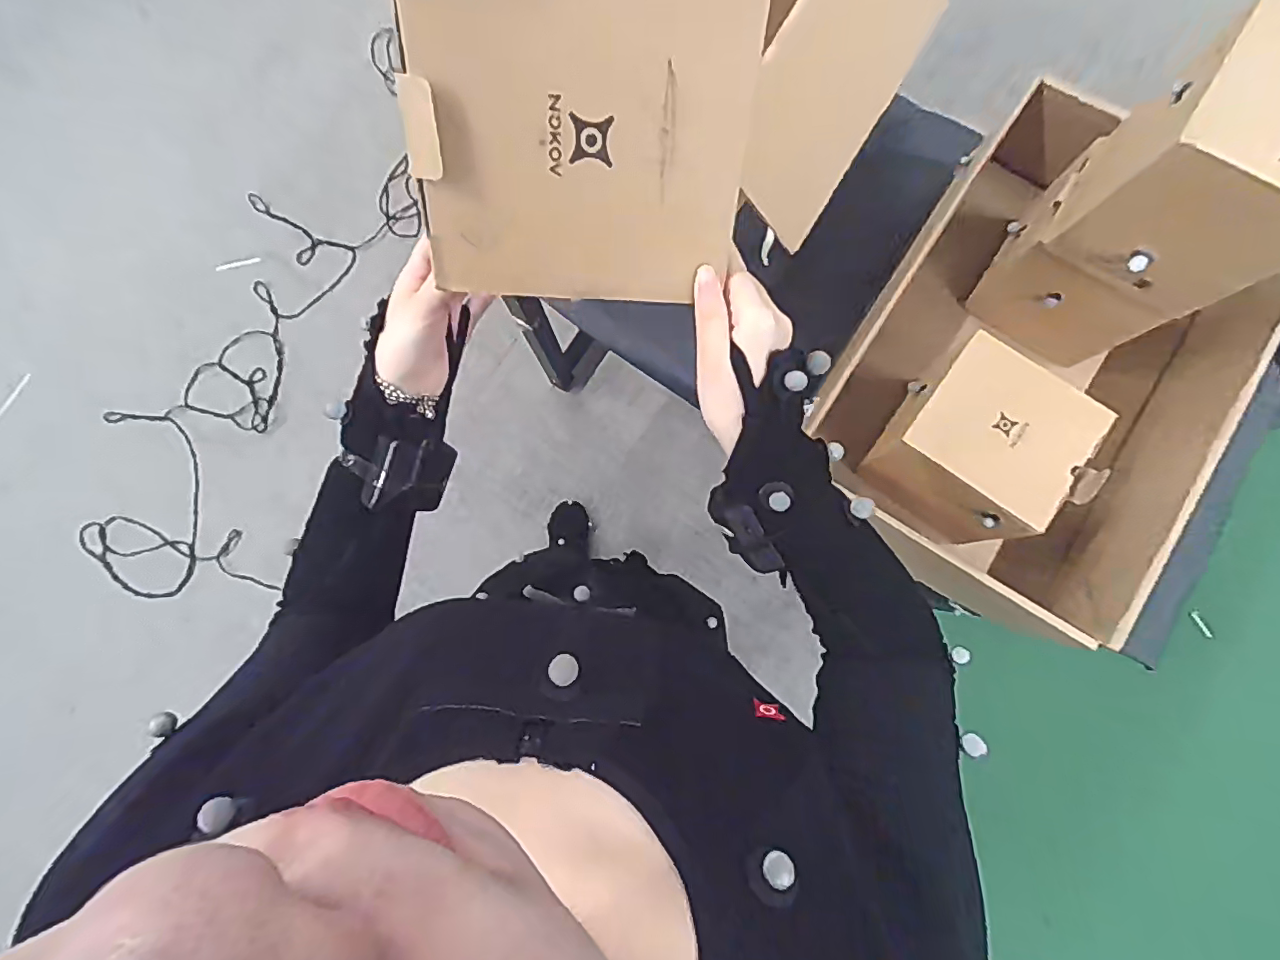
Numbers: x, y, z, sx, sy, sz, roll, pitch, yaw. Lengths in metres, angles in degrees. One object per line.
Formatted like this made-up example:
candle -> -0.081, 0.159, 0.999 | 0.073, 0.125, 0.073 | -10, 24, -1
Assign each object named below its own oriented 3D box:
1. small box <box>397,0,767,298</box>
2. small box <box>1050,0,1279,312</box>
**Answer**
small box -> -0.037, -0.230, 0.348 | 0.179, 0.168, 0.176 | 0, 38, -7
small box -> 0.572, -0.308, 0.544 | 0.168, 0.176, 0.179 | 32, 85, 6
